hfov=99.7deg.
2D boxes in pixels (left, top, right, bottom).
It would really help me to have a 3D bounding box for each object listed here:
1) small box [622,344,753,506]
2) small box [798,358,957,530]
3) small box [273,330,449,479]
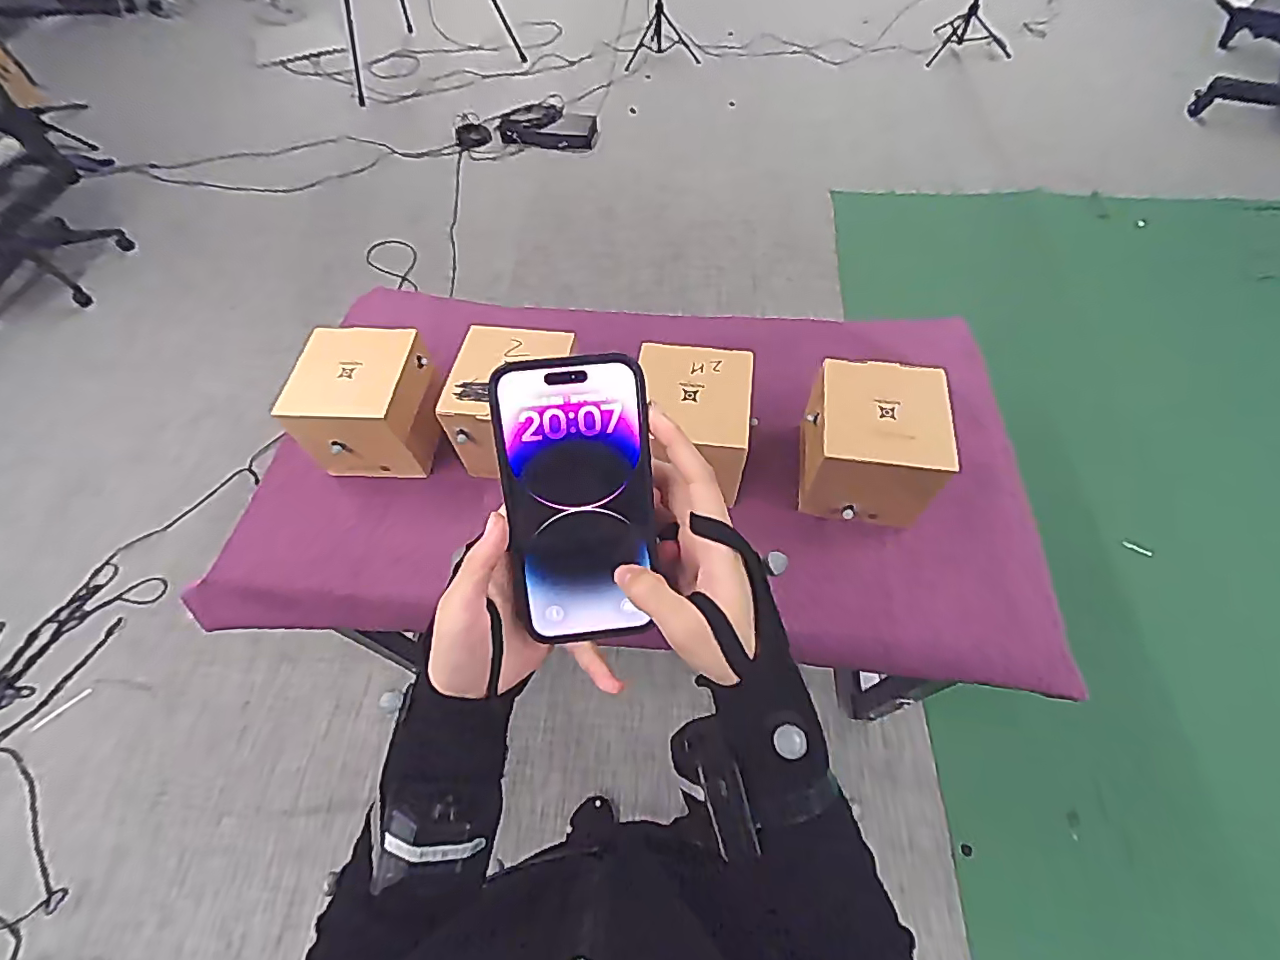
[{"bbox_3d":[0.073,-0.077,0.815,0.168,0.176,0.179,7,58,6],"label":"small box"},{"bbox_3d":[0.331,-0.049,0.789,0.168,0.176,0.179,8,59,8],"label":"small box"},{"bbox_3d":[-0.425,-0.115,0.860,0.168,0.176,0.179,1,57,3],"label":"small box"}]
